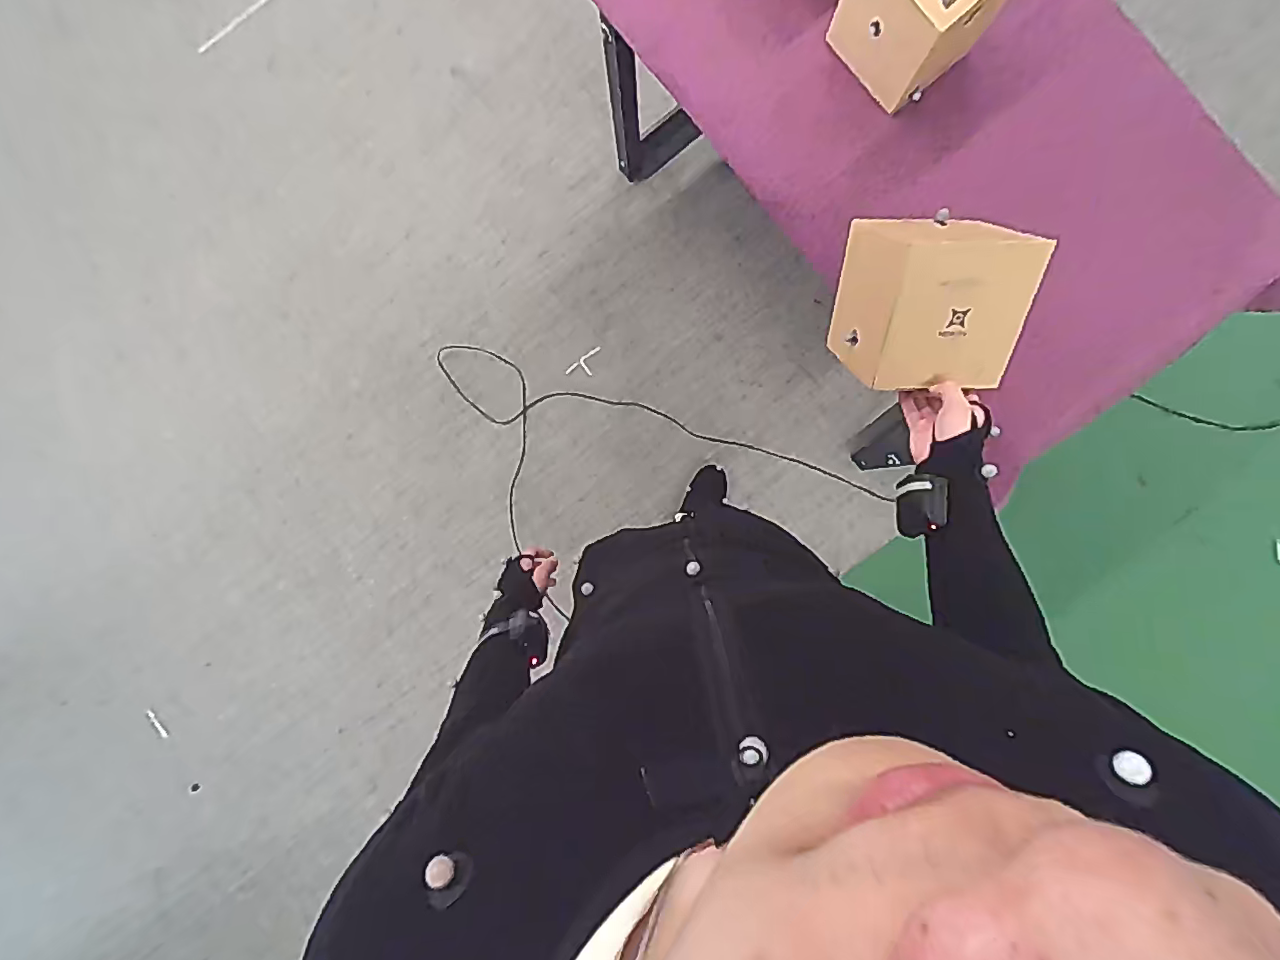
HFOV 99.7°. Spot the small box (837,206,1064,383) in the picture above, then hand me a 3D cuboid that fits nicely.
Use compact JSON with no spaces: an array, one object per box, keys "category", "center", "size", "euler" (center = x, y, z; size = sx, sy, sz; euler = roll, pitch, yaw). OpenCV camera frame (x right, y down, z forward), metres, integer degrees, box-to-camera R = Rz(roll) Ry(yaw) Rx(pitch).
[{"category":"small box","center":[0.368,-0.238,0.686],"size":[0.168,0.176,0.179],"euler":[-1,124,-3]}]

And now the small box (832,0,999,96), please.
[{"category":"small box","center":[0.427,-0.731,0.816],"size":[0.168,0.176,0.179],"euler":[-39,87,1]}]
